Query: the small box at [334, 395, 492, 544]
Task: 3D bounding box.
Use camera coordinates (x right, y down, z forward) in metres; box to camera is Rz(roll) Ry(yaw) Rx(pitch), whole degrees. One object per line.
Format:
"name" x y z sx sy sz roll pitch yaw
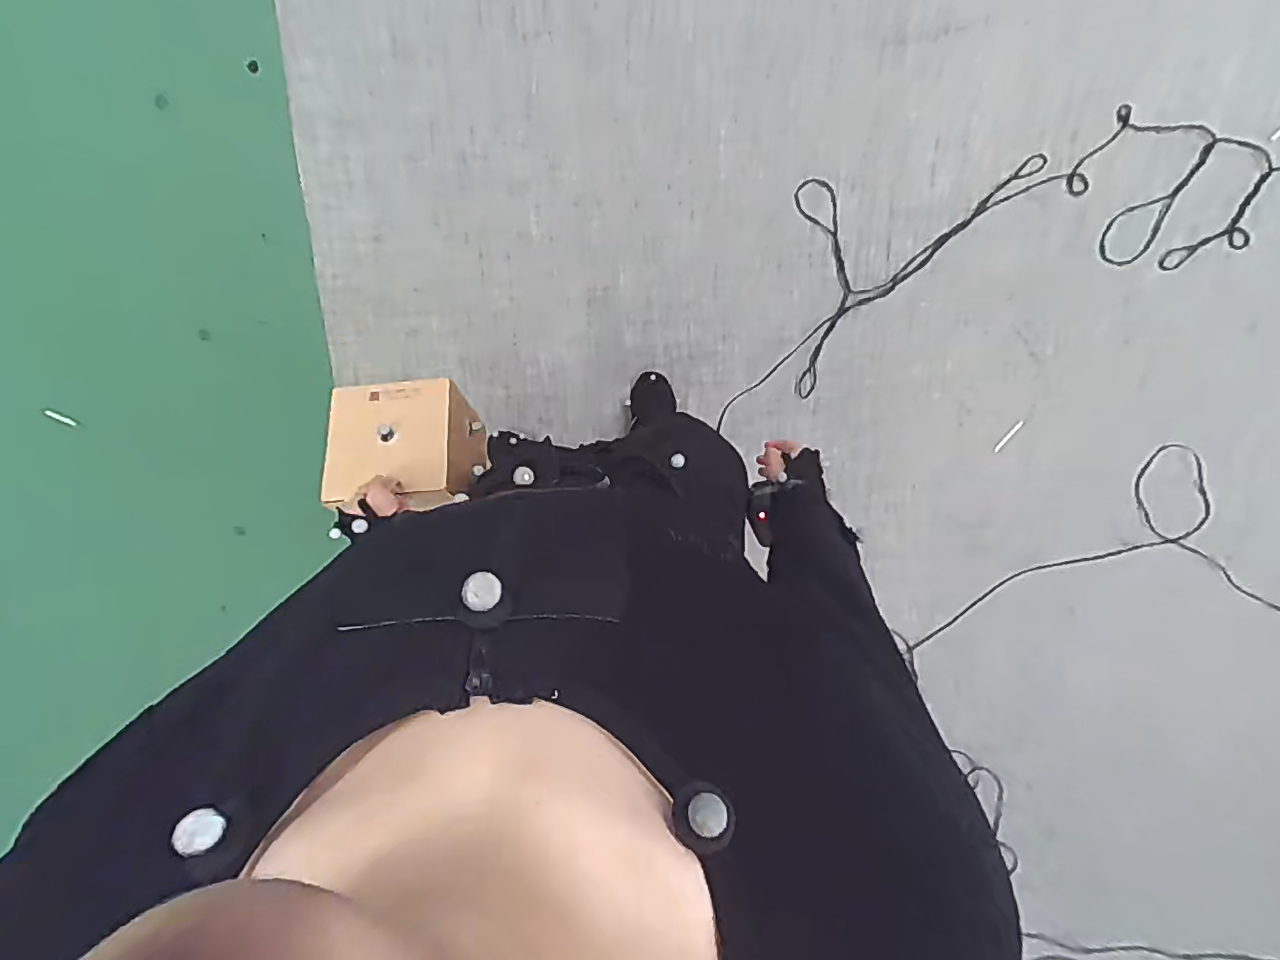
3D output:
"small box" -0.328 -0.017 0.807 0.168 0.179 0.176 -7 69 -1
